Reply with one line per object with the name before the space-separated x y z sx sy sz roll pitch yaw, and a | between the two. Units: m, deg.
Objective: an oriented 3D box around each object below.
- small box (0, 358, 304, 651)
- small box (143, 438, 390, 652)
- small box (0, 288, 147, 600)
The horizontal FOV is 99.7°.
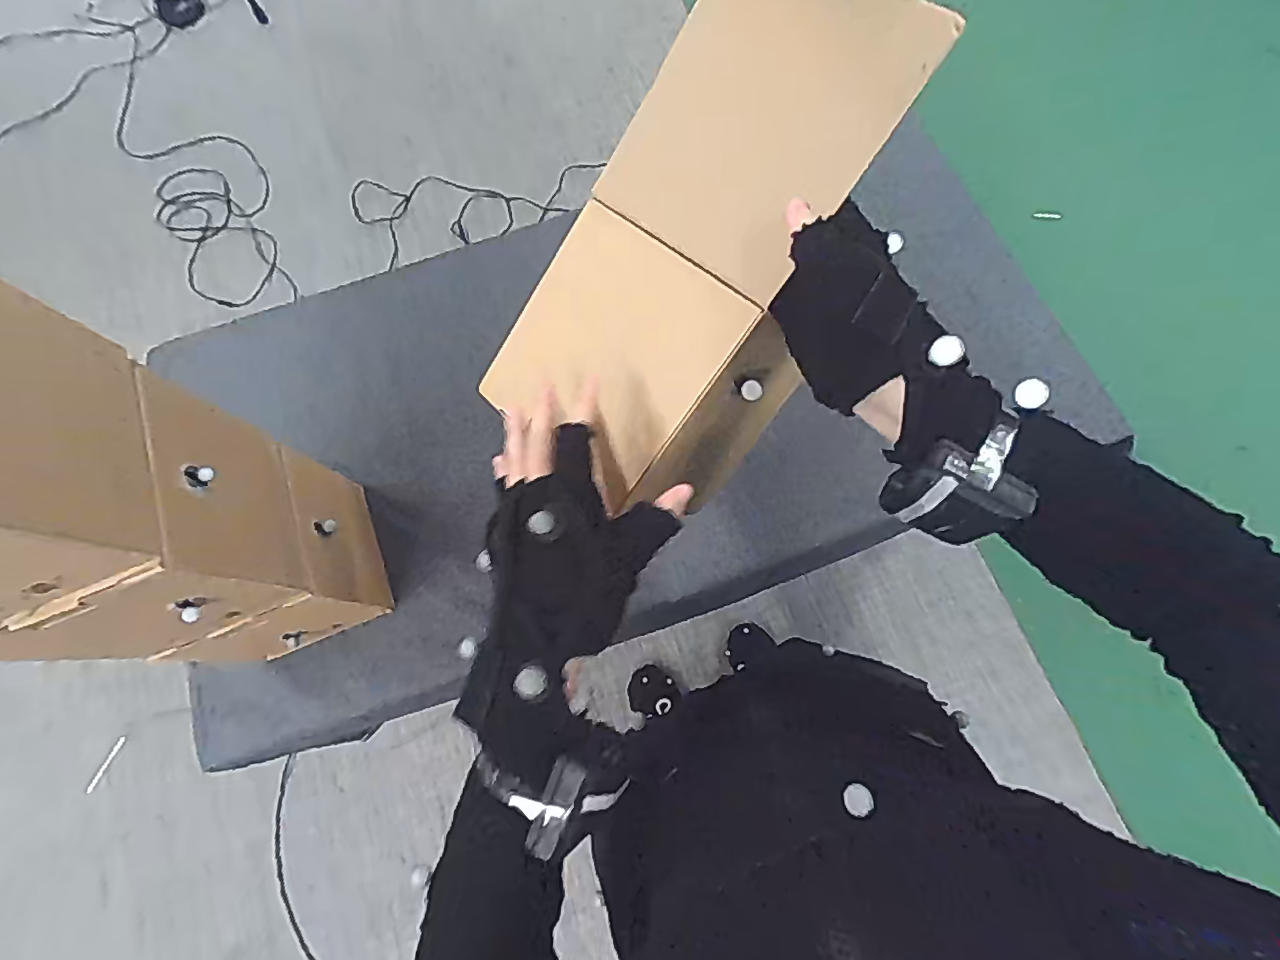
small box | -0.423 0.033 0.459 0.168 0.176 0.179 -21 73 -5
small box | -0.415 0.083 0.614 0.168 0.176 0.179 -22 73 -4
small box | -0.433 -0.021 0.304 0.168 0.176 0.179 -23 73 -5
